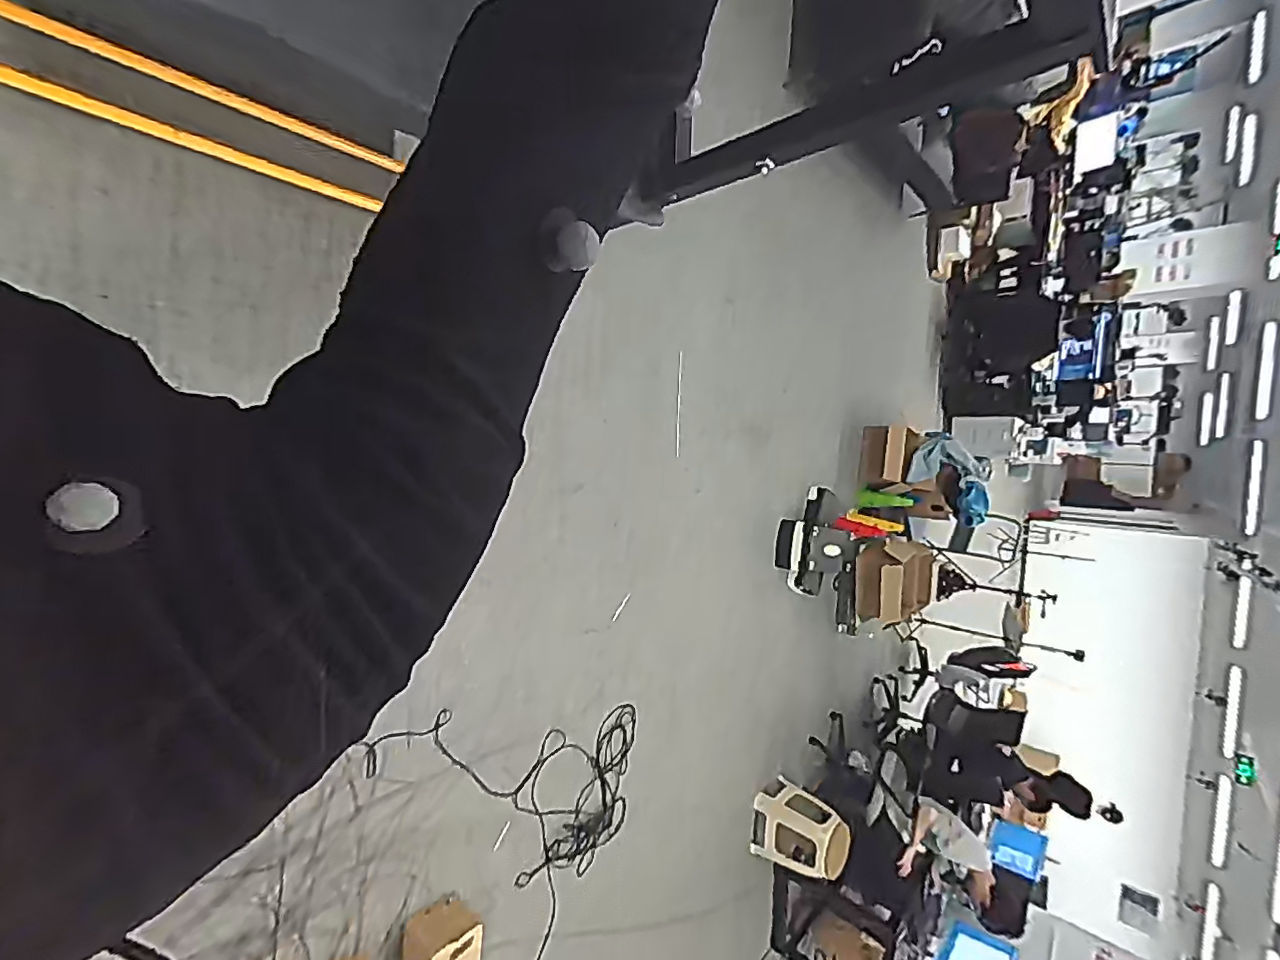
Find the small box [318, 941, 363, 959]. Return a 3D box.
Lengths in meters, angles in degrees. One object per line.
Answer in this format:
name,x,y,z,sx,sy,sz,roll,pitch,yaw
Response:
small box,-0.801,1.377,1.408,0.168,0.176,0.179,-4,96,-48

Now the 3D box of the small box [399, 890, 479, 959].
small box,-0.606,1.383,1.624,0.168,0.176,0.179,4,92,-48
